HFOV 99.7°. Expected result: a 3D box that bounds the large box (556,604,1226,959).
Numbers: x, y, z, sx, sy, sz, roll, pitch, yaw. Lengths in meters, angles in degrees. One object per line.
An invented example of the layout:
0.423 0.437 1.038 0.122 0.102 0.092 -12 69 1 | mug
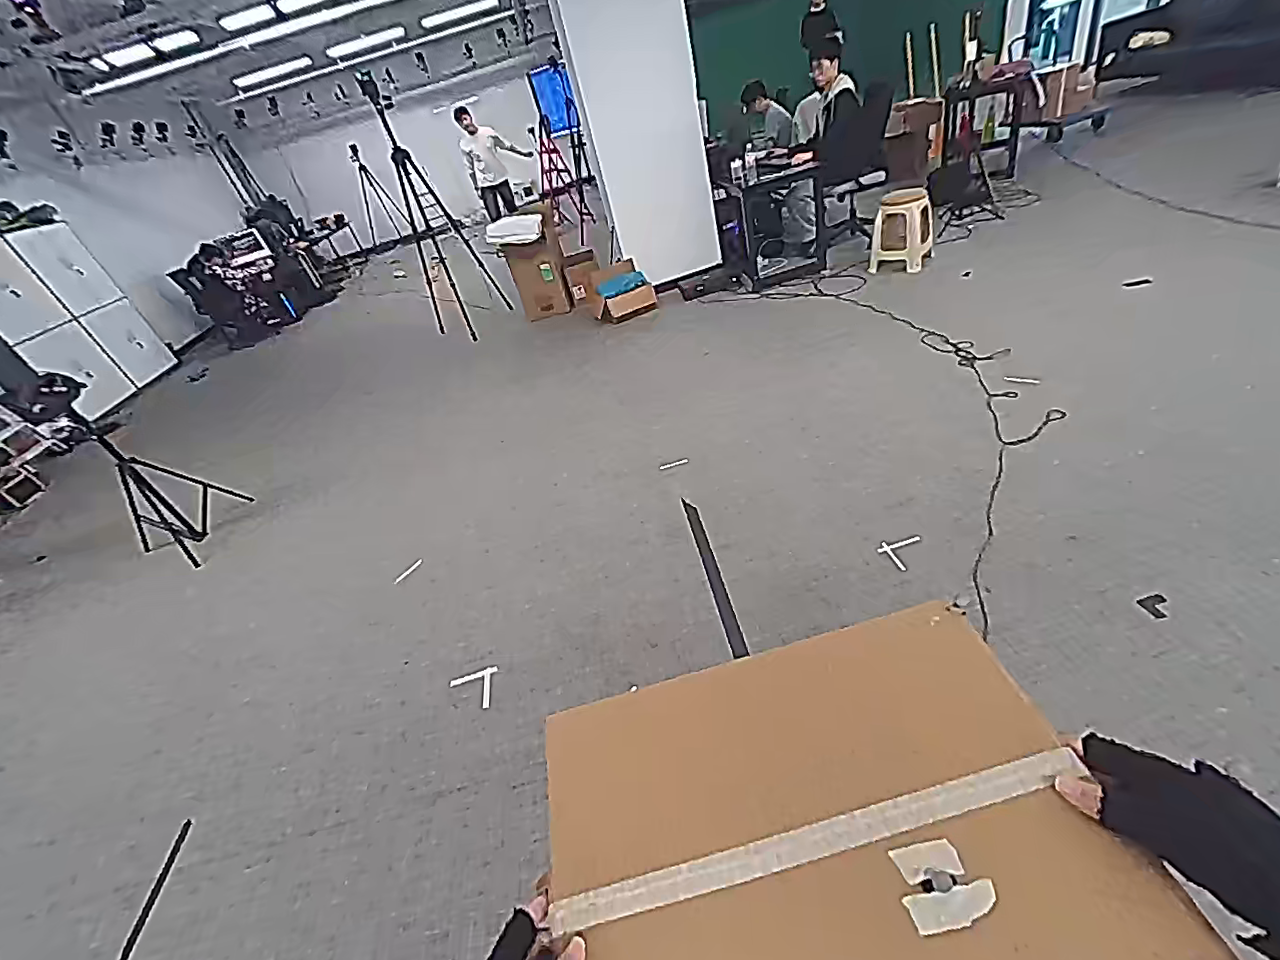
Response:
0.168 0.383 0.508 0.408 0.320 0.320 -17 41 -1 | large box
